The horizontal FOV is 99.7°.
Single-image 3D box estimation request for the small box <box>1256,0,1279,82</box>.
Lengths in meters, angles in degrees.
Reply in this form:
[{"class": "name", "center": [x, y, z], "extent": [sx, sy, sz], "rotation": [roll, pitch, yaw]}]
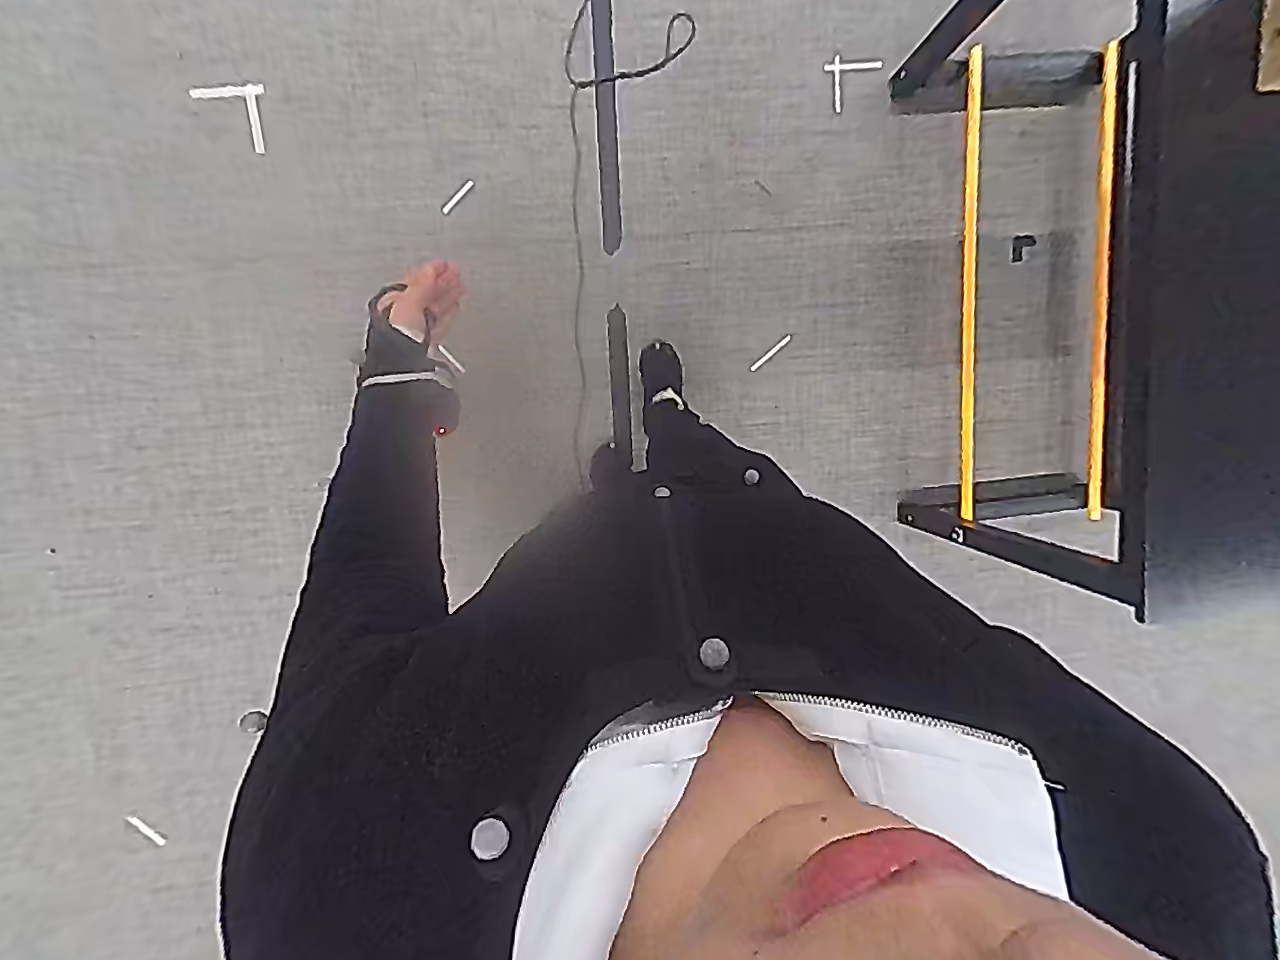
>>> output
[{"class": "small box", "center": [0.935, -0.619, 0.658], "extent": [0.179, 0.176, 0.168], "rotation": [-4, 97, -3]}]
